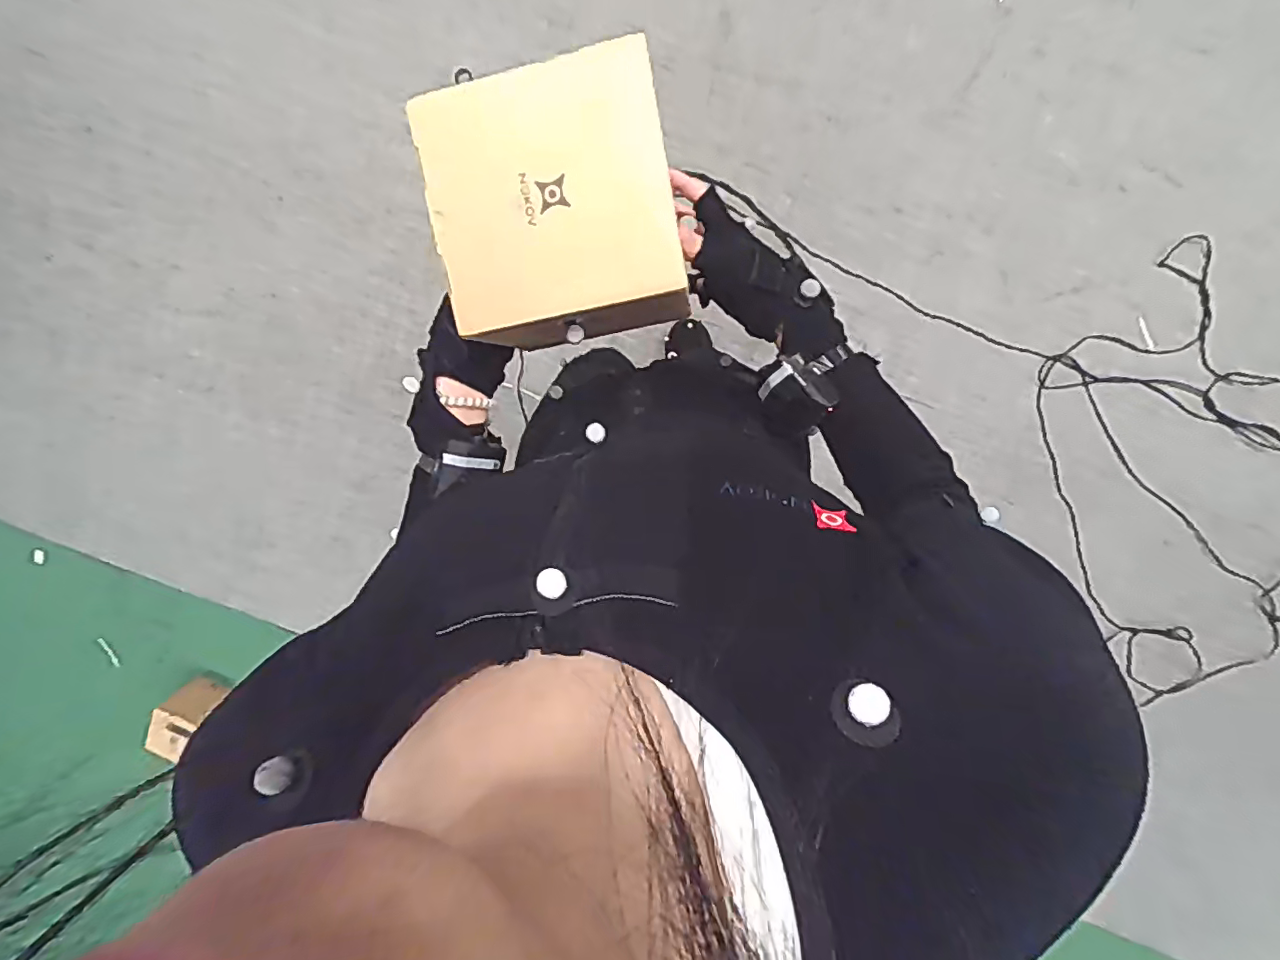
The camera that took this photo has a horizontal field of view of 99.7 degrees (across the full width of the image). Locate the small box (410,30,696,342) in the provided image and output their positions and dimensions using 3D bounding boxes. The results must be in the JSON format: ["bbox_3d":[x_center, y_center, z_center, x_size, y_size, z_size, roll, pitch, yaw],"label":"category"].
[{"bbox_3d":[-0.051,-0.215,0.450,0.179,0.176,0.168,-9,100,9],"label":"small box"}]
